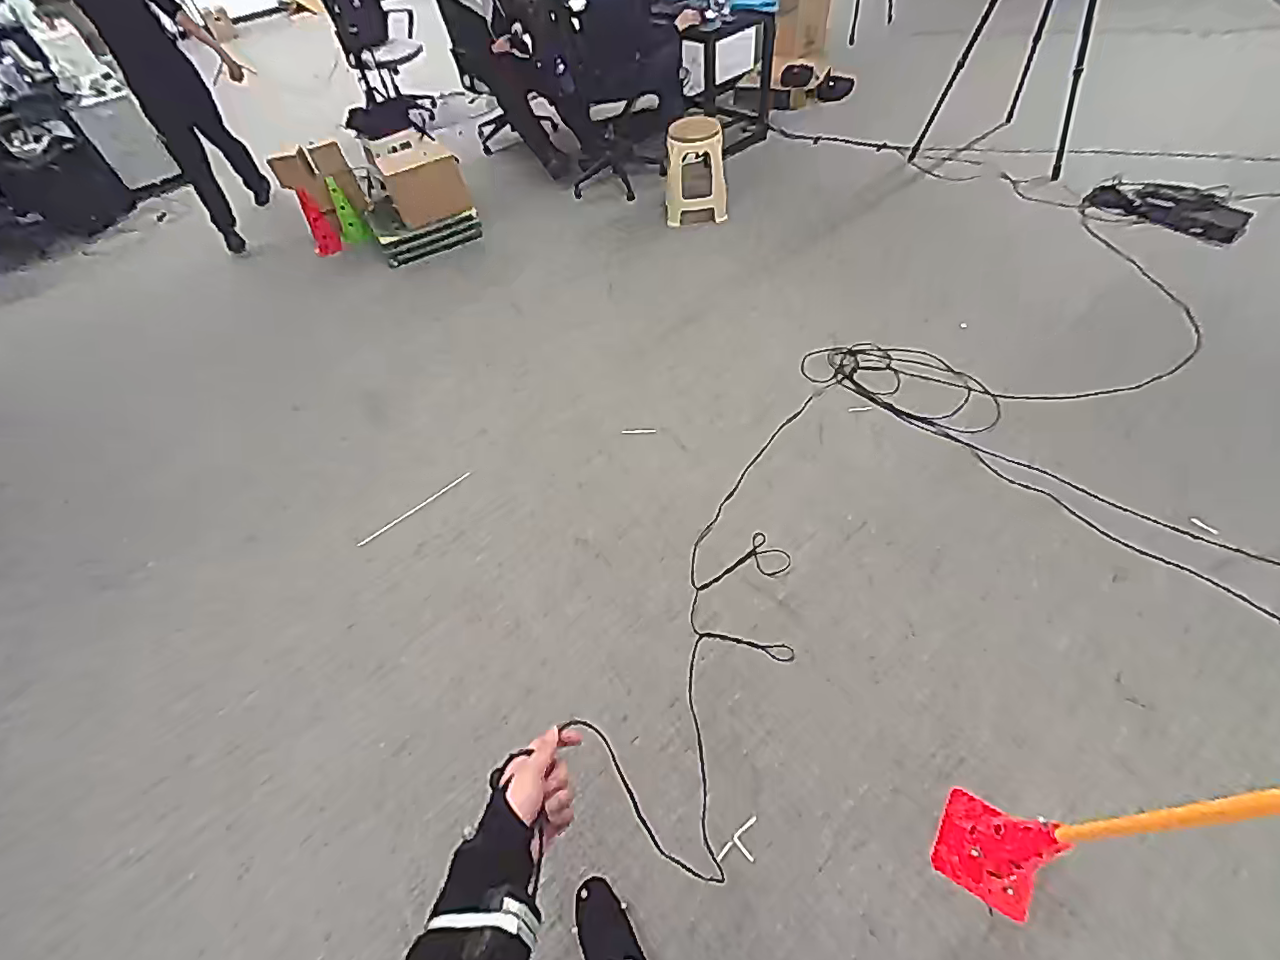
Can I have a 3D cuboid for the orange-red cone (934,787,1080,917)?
[{"bbox_3d":[0.788,0.743,1.113,0.198,0.360,0.199,27,58,24],"label":"orange-red cone"}]
